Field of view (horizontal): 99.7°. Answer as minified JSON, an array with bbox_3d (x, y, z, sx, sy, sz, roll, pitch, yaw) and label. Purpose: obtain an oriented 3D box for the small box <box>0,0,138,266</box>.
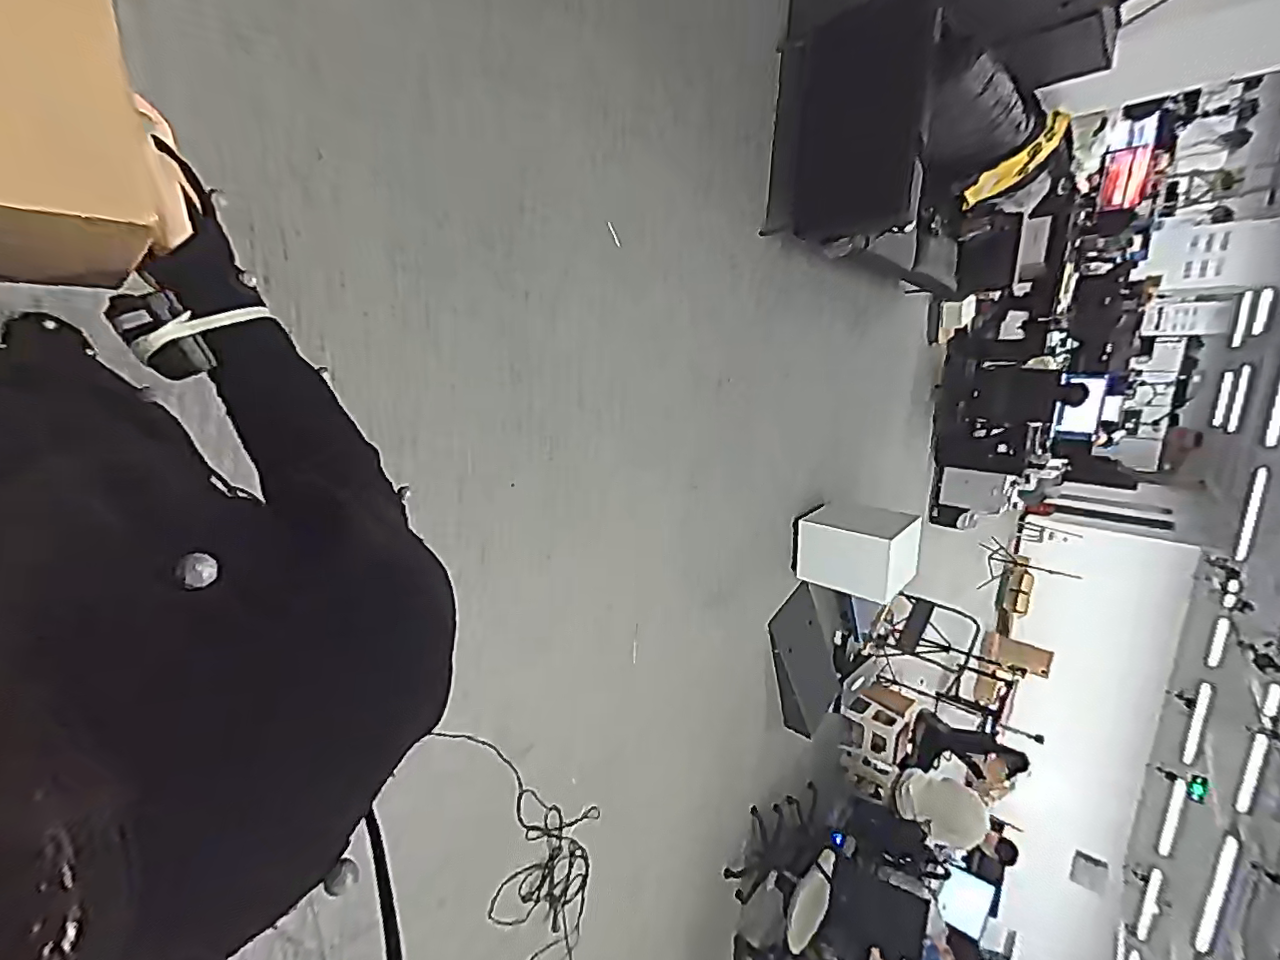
[{"bbox_3d":[-0.407,-0.228,0.291,0.168,0.176,0.179,-14,102,-50],"label":"small box"}]
